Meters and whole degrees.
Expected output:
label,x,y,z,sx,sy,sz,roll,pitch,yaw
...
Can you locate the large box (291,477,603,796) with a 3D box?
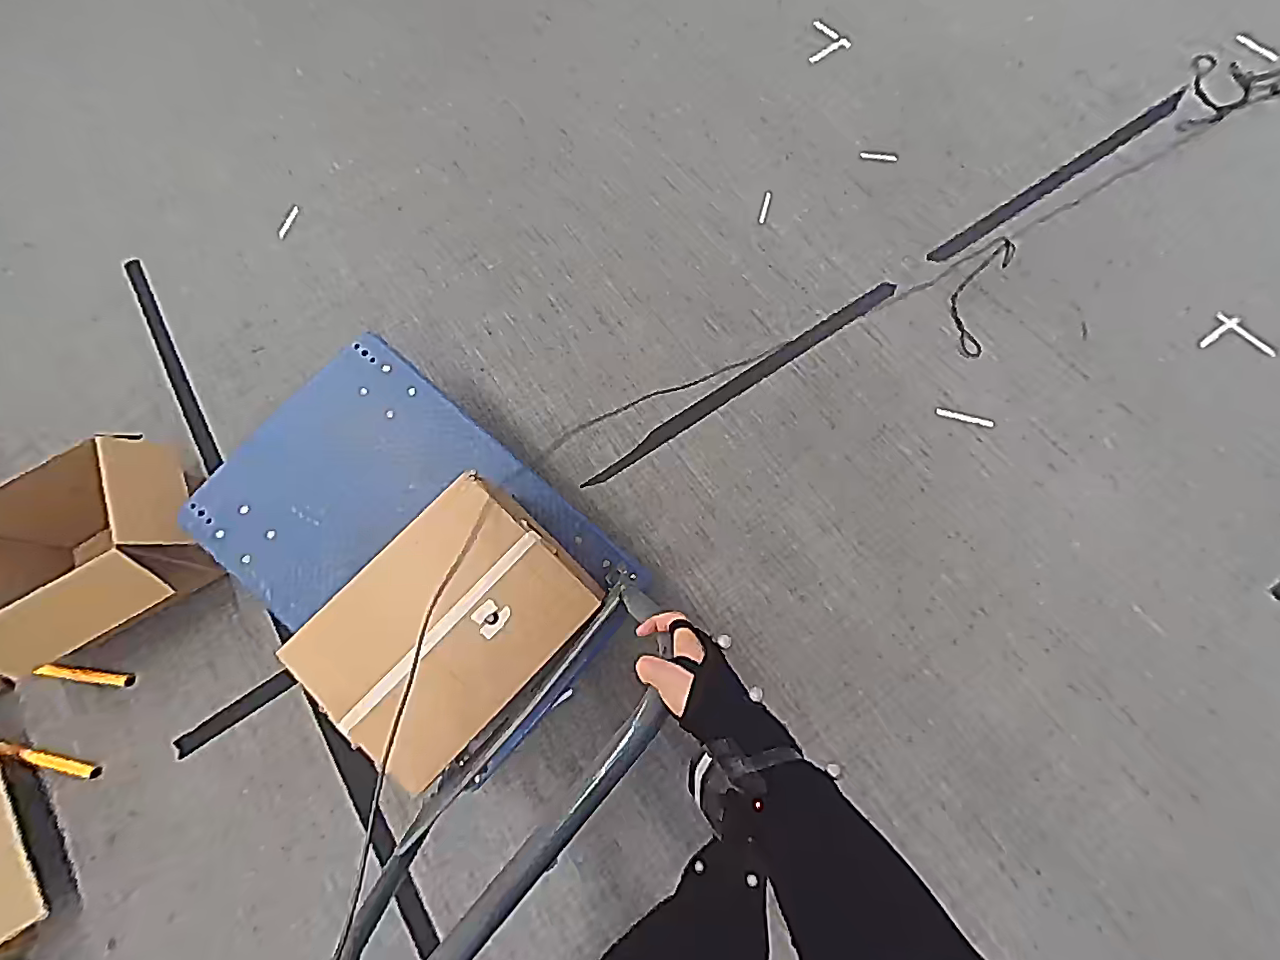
label,x,y,z,sx,sy,sz,roll,pitch,yaw
large box,-0.313,0.263,1.004,0.320,0.320,0.408,43,81,3
